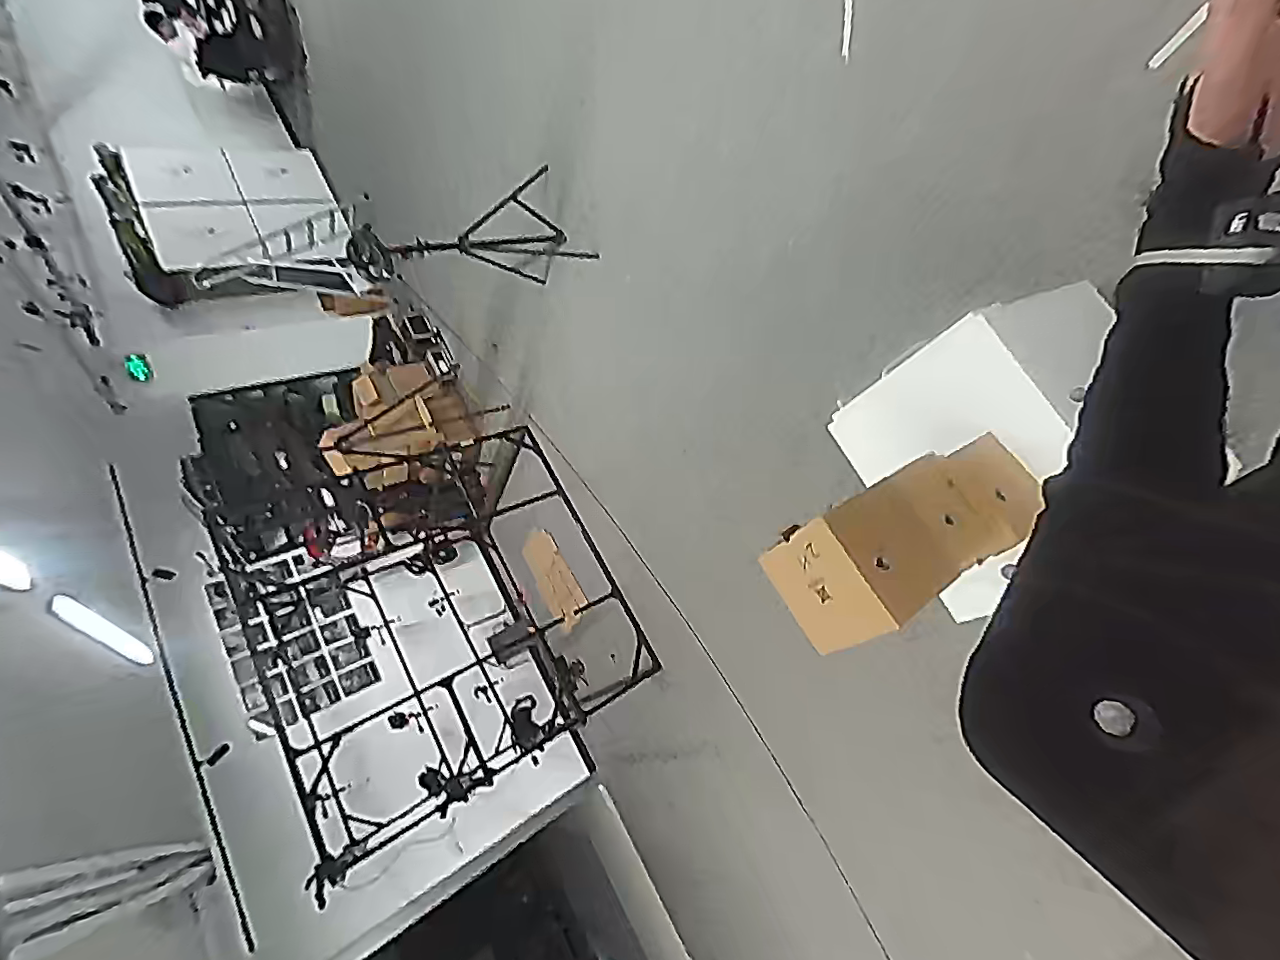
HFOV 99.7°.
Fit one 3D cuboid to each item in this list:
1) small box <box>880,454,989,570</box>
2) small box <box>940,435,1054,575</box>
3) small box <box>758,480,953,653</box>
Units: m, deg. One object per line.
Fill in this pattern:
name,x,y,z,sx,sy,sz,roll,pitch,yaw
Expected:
small box,0.446,0.080,0.911,0.168,0.176,0.179,57,147,18
small box,0.592,0.044,0.978,0.179,0.176,0.168,57,146,19
small box,0.322,0.127,0.811,0.179,0.176,0.168,59,146,16
